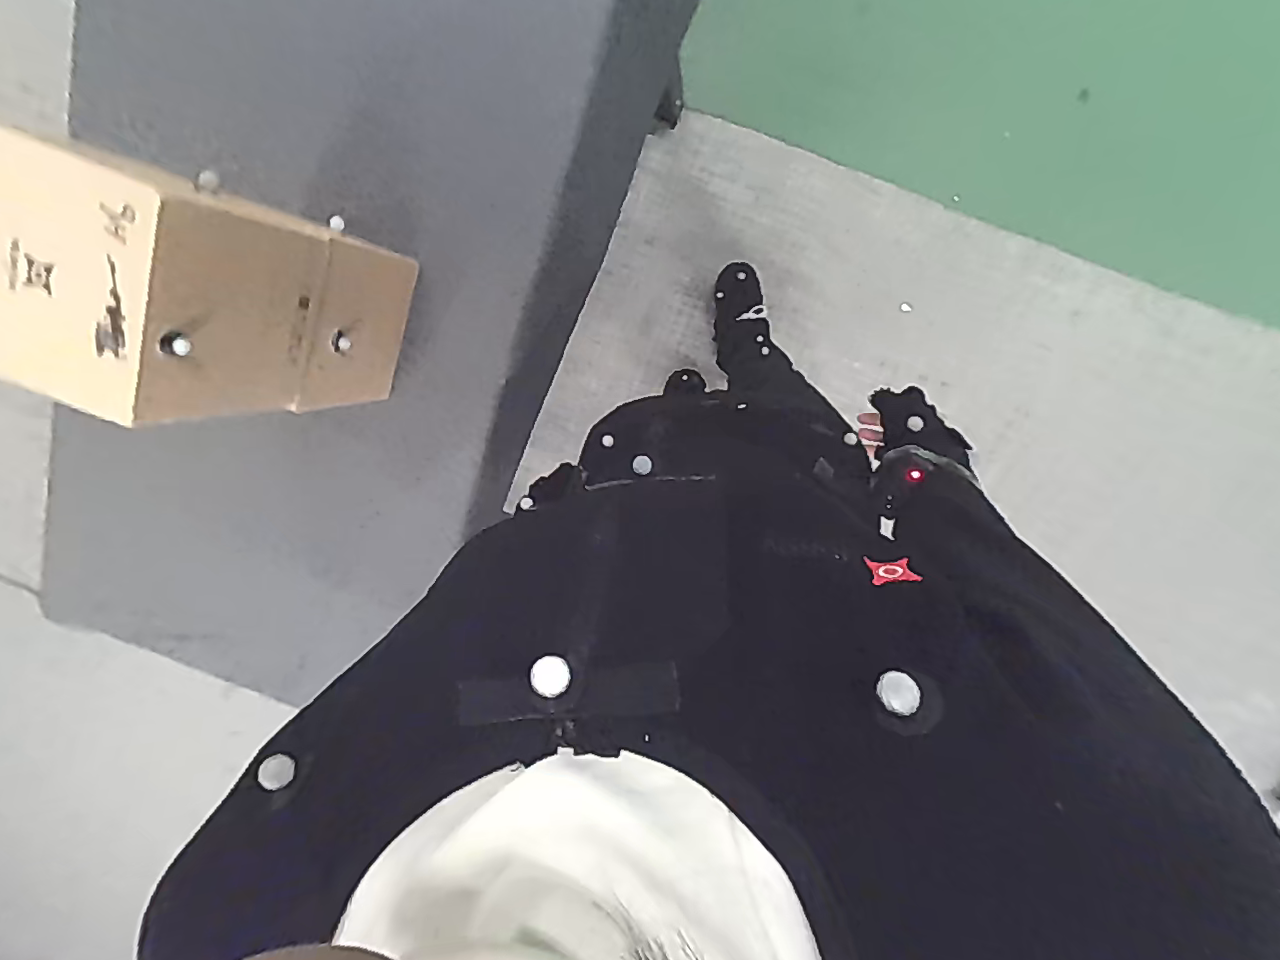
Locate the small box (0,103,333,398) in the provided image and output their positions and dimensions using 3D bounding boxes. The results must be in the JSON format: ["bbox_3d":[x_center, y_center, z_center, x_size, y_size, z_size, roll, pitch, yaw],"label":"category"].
[{"bbox_3d":[-0.401,-0.176,0.450,0.179,0.176,0.168,19,104,1],"label":"small box"}]

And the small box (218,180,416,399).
[{"bbox_3d":[-0.380,-0.207,0.607,0.168,0.176,0.179,21,105,2],"label":"small box"}]
